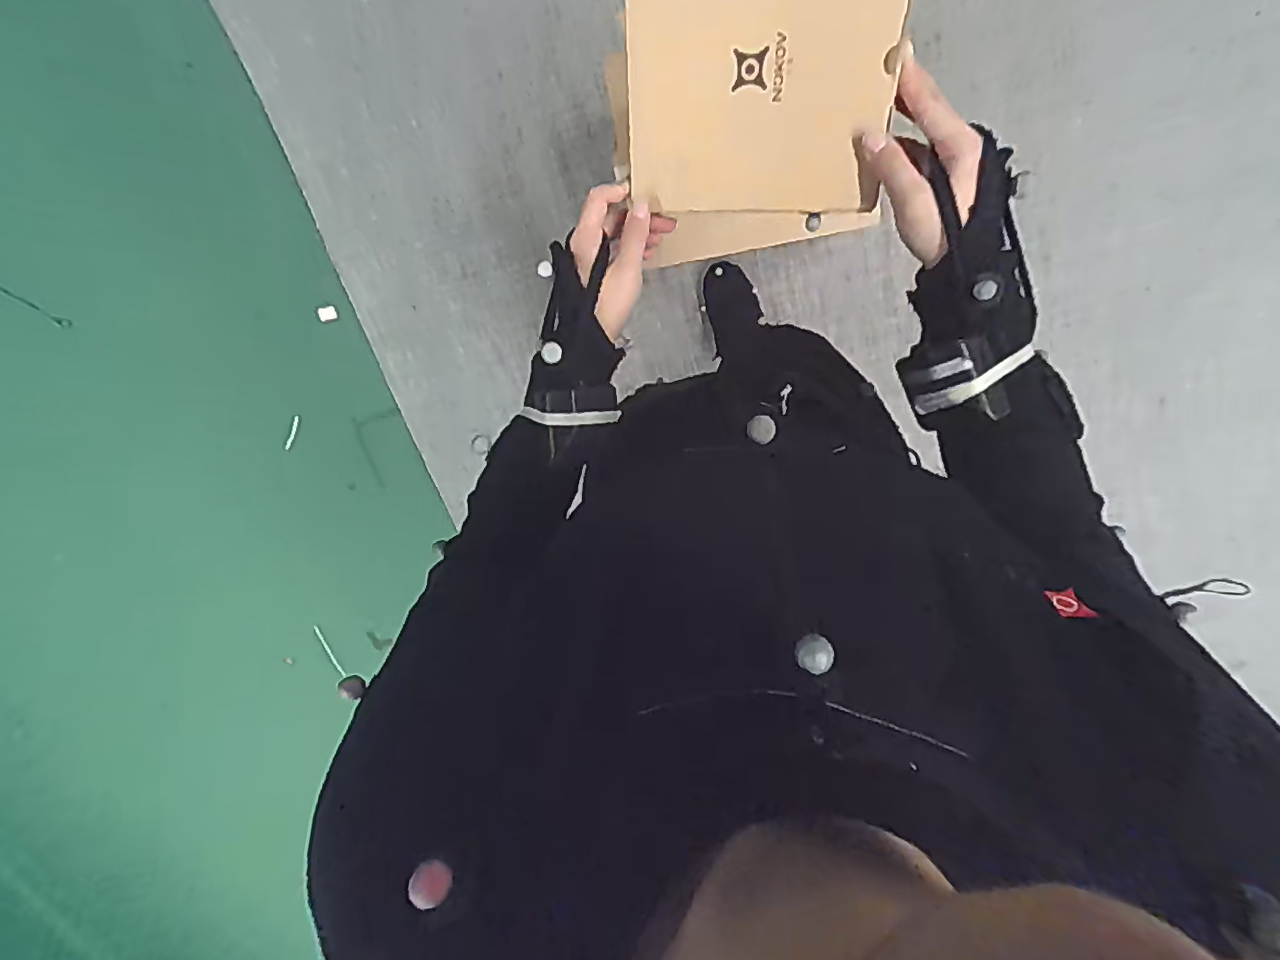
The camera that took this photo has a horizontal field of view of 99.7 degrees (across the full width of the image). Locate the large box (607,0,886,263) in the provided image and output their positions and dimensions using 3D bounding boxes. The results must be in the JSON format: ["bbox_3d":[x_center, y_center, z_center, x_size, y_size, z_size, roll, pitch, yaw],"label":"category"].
[{"bbox_3d":[0.185,-0.600,0.978,0.408,0.320,0.320,-8,113,10],"label":"large box"}]
